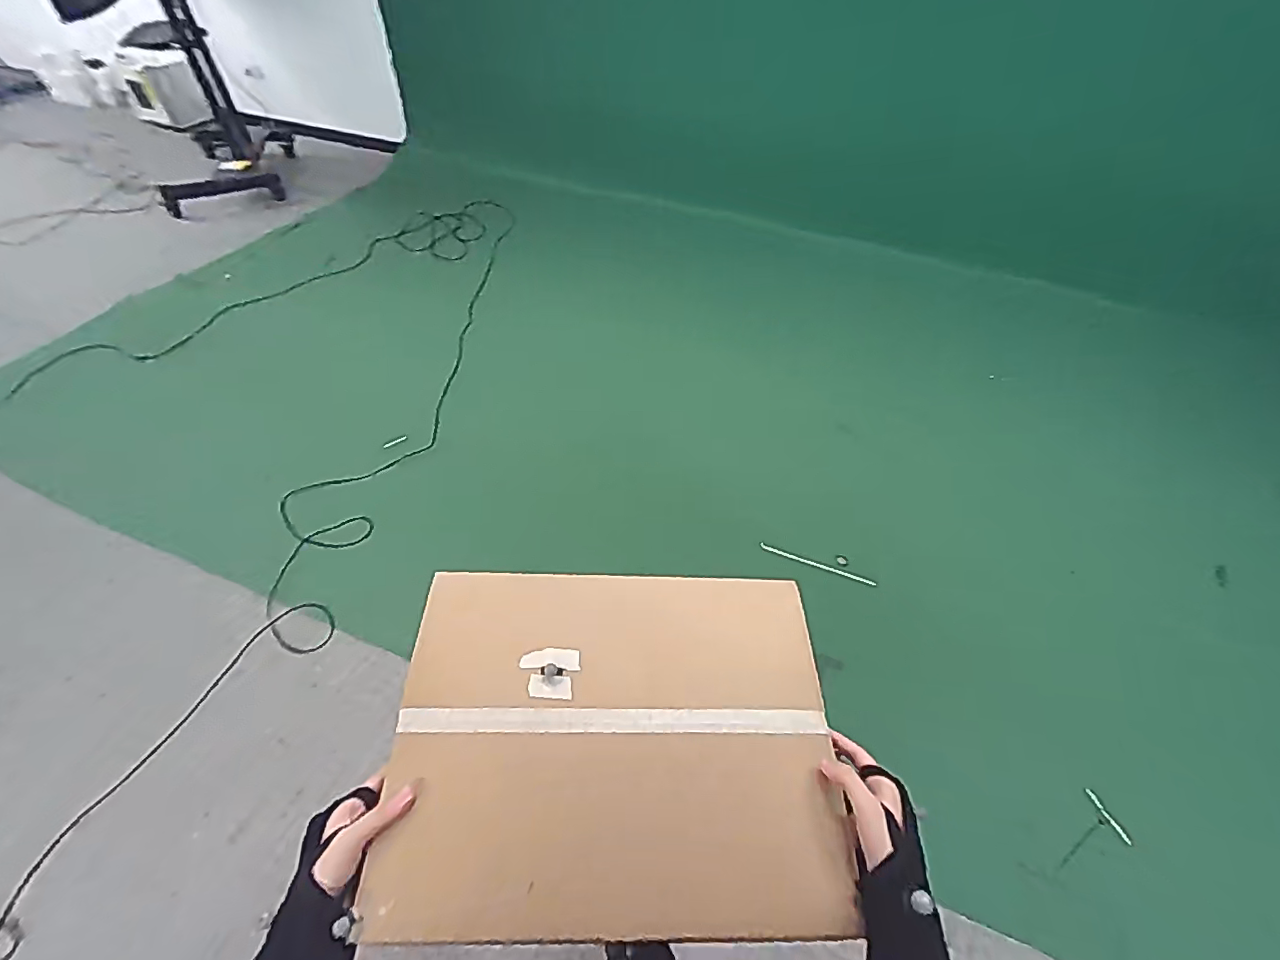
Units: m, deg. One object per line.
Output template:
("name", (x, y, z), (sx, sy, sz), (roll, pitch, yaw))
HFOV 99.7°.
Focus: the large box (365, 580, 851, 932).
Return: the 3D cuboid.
("large box", (-0.028, 0.328, 0.645), (0.408, 0.320, 0.320), (2, 51, -2))
